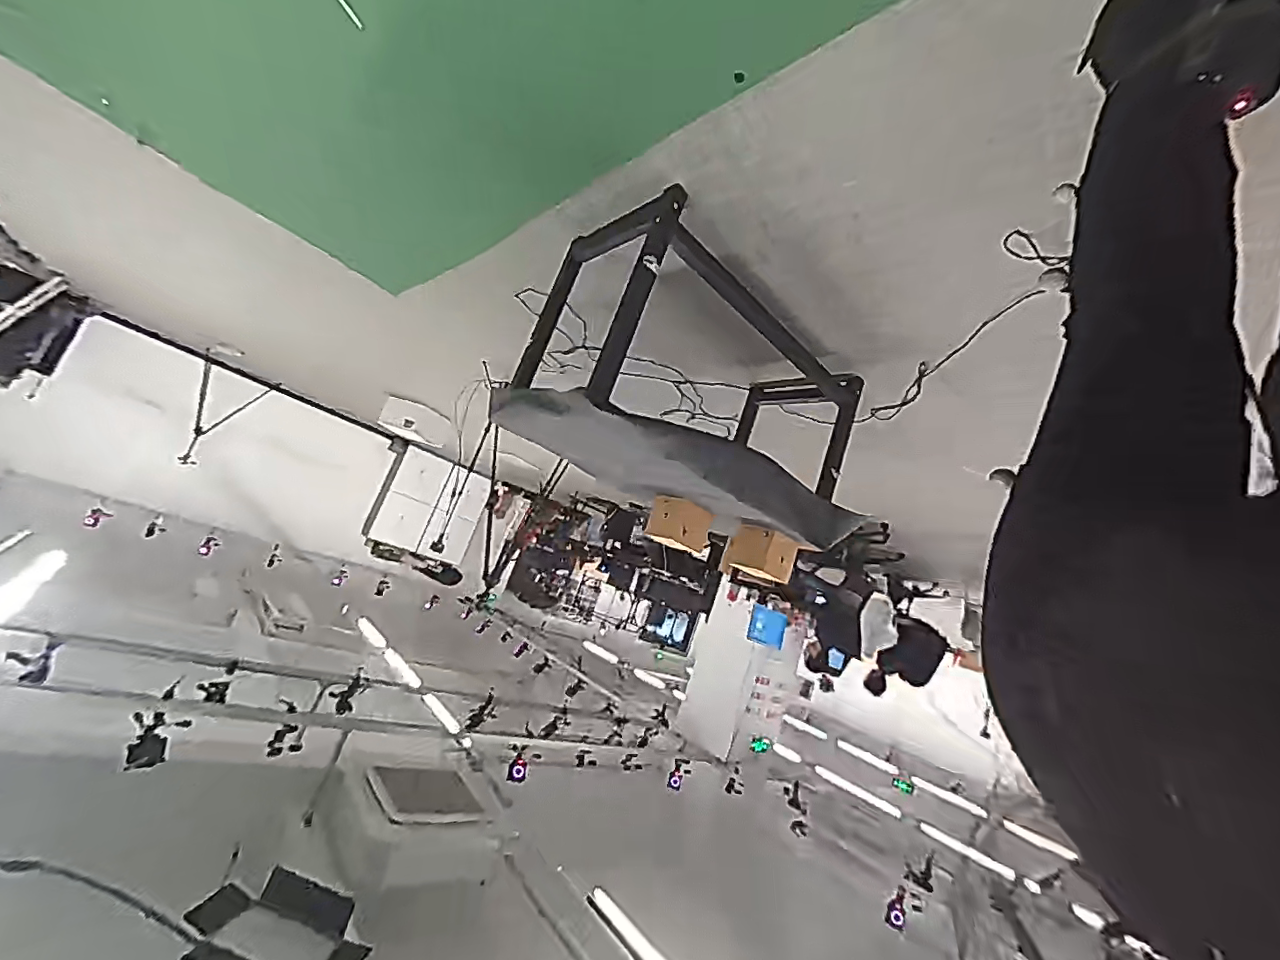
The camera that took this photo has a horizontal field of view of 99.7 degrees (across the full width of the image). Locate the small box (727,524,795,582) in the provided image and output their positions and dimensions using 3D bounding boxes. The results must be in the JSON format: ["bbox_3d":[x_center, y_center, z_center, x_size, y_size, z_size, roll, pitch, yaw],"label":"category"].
[{"bbox_3d":[0.470,0.276,2.083,0.179,0.176,0.168,28,167,-37],"label":"small box"}]

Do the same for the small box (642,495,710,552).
[{"bbox_3d":[0.143,0.167,2.111,0.179,0.176,0.168,29,165,-39],"label":"small box"}]
